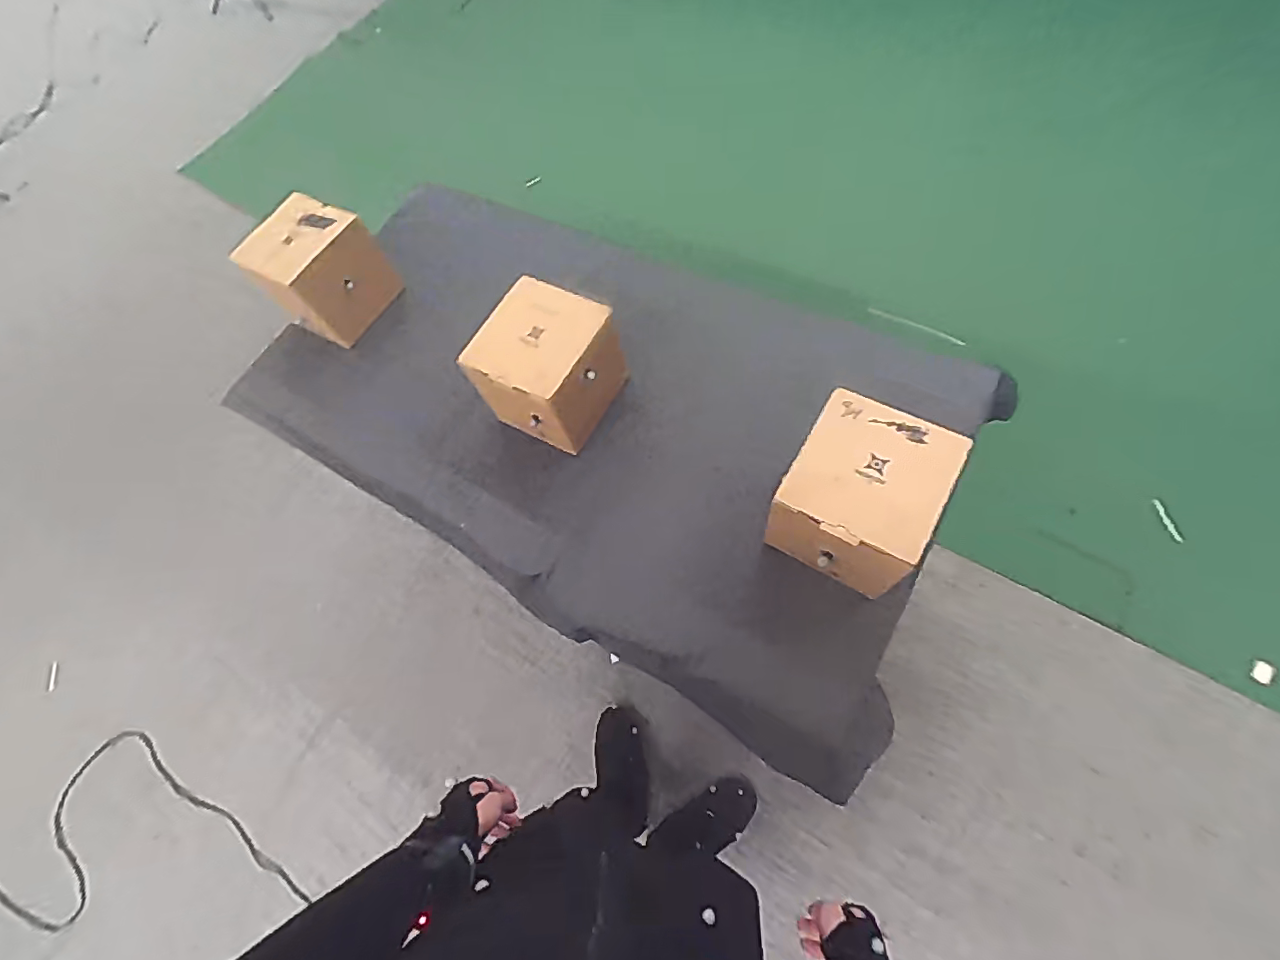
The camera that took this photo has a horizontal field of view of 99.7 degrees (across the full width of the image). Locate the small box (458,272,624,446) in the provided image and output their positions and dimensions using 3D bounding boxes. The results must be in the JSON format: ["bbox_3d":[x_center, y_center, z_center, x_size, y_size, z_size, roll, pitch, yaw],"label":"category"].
[{"bbox_3d":[-0.139,-0.180,0.841,0.168,0.176,0.179,26,71,17],"label":"small box"}]

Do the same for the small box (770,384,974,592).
[{"bbox_3d":[0.276,0.019,0.683,0.168,0.176,0.179,28,73,20],"label":"small box"}]

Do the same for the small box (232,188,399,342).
[{"bbox_3d":[-0.582,-0.394,1.002,0.168,0.176,0.179,26,72,19],"label":"small box"}]
